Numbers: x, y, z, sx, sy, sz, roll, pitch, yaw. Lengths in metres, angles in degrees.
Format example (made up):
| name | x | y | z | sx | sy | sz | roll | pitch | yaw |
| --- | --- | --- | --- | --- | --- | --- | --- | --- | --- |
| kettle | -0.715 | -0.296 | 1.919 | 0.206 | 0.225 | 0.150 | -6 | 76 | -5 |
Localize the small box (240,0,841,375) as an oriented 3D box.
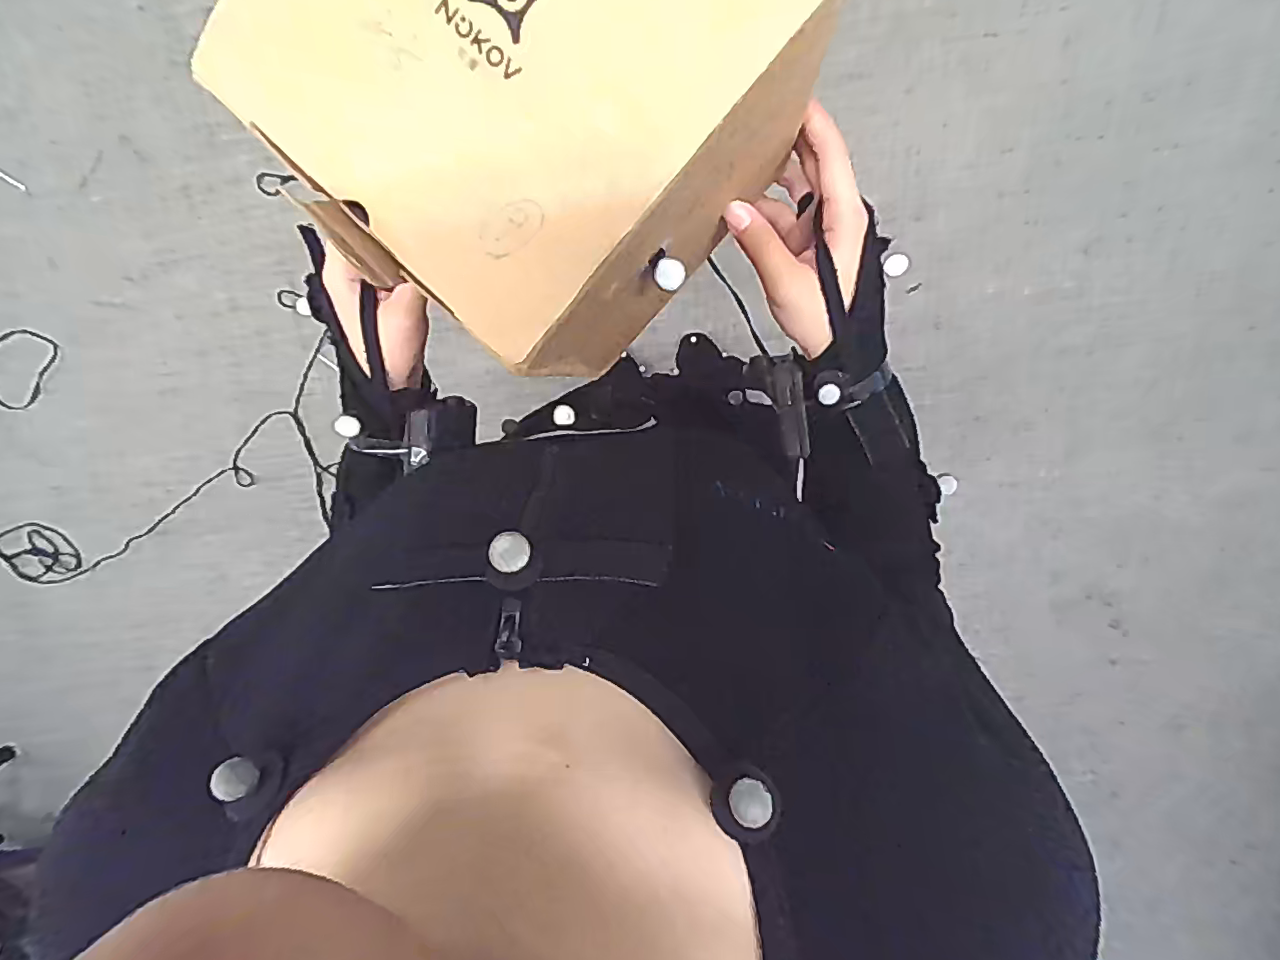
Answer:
| name | x | y | z | sx | sy | sz | roll | pitch | yaw |
| --- | --- | --- | --- | --- | --- | --- | --- | --- | --- |
| small box | -0.034 | -0.170 | 0.276 | 0.168 | 0.176 | 0.179 | 43 | 102 | -2 |
